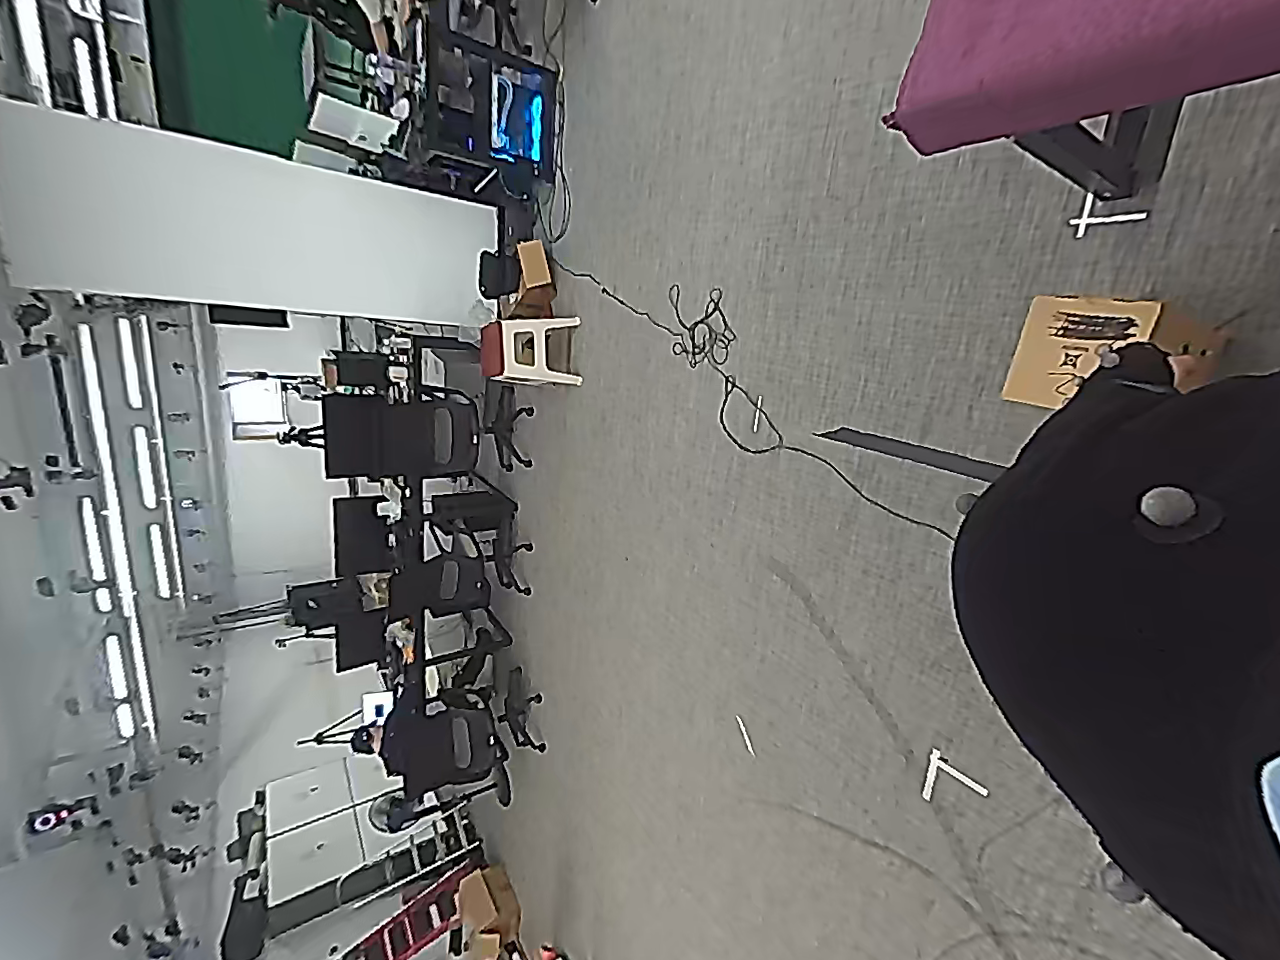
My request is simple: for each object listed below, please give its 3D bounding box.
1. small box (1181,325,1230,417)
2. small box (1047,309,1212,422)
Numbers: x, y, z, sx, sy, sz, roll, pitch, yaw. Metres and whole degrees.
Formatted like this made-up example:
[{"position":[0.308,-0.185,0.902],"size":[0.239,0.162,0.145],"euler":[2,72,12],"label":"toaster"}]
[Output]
[{"position":[1.019,-0.227,1.079],"size":[0.168,0.176,0.179],"euler":[34,121,48],"label":"small box"},{"position":[0.887,-0.208,0.980],"size":[0.168,0.176,0.179],"euler":[27,117,51],"label":"small box"}]
